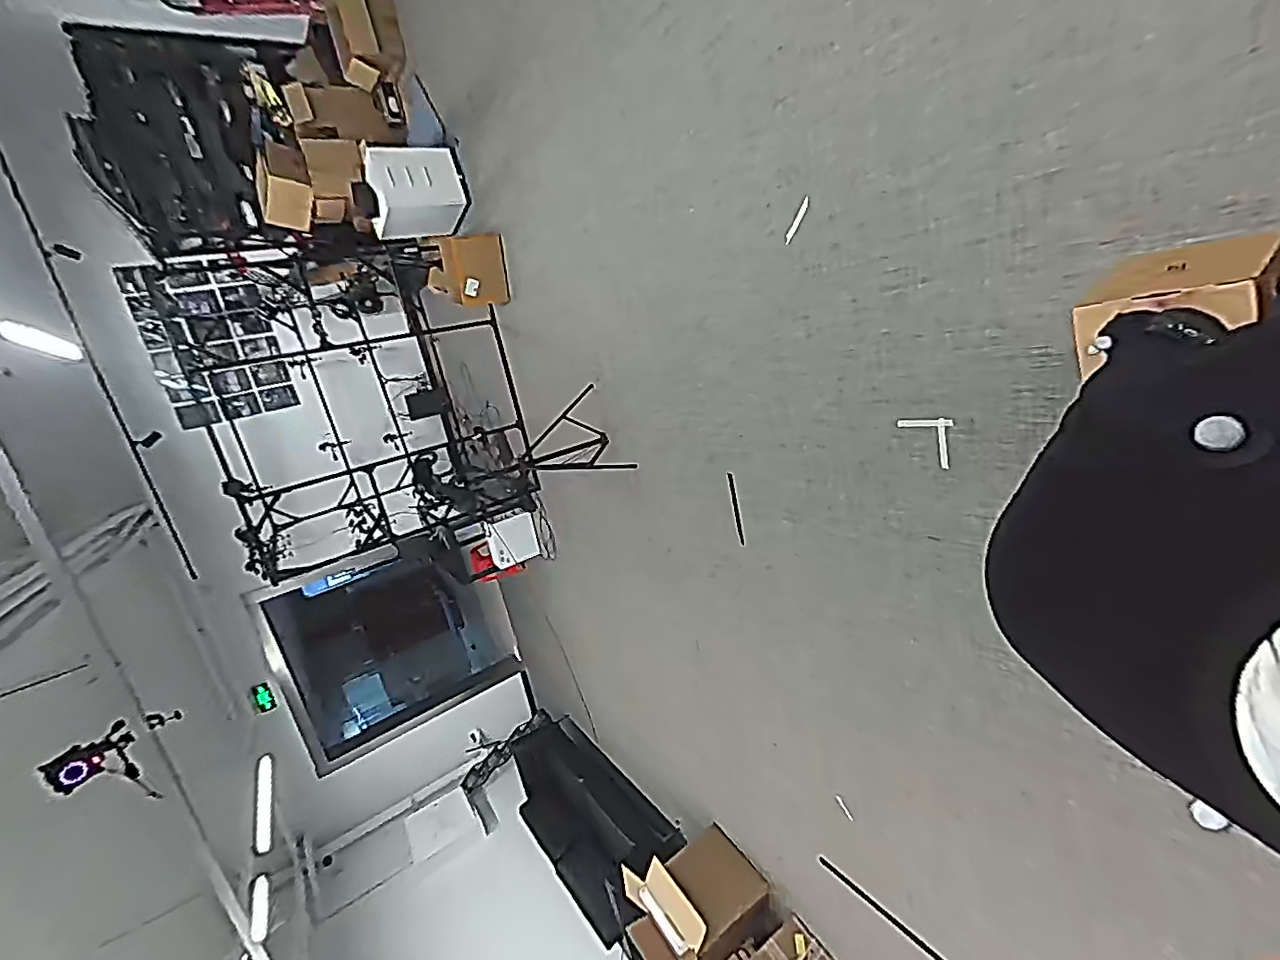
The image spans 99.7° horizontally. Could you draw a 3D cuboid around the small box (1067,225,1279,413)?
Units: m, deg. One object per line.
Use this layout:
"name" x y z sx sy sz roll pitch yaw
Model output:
"small box" 0.705 -0.198 0.711 0.168 0.179 0.176 9 131 56
